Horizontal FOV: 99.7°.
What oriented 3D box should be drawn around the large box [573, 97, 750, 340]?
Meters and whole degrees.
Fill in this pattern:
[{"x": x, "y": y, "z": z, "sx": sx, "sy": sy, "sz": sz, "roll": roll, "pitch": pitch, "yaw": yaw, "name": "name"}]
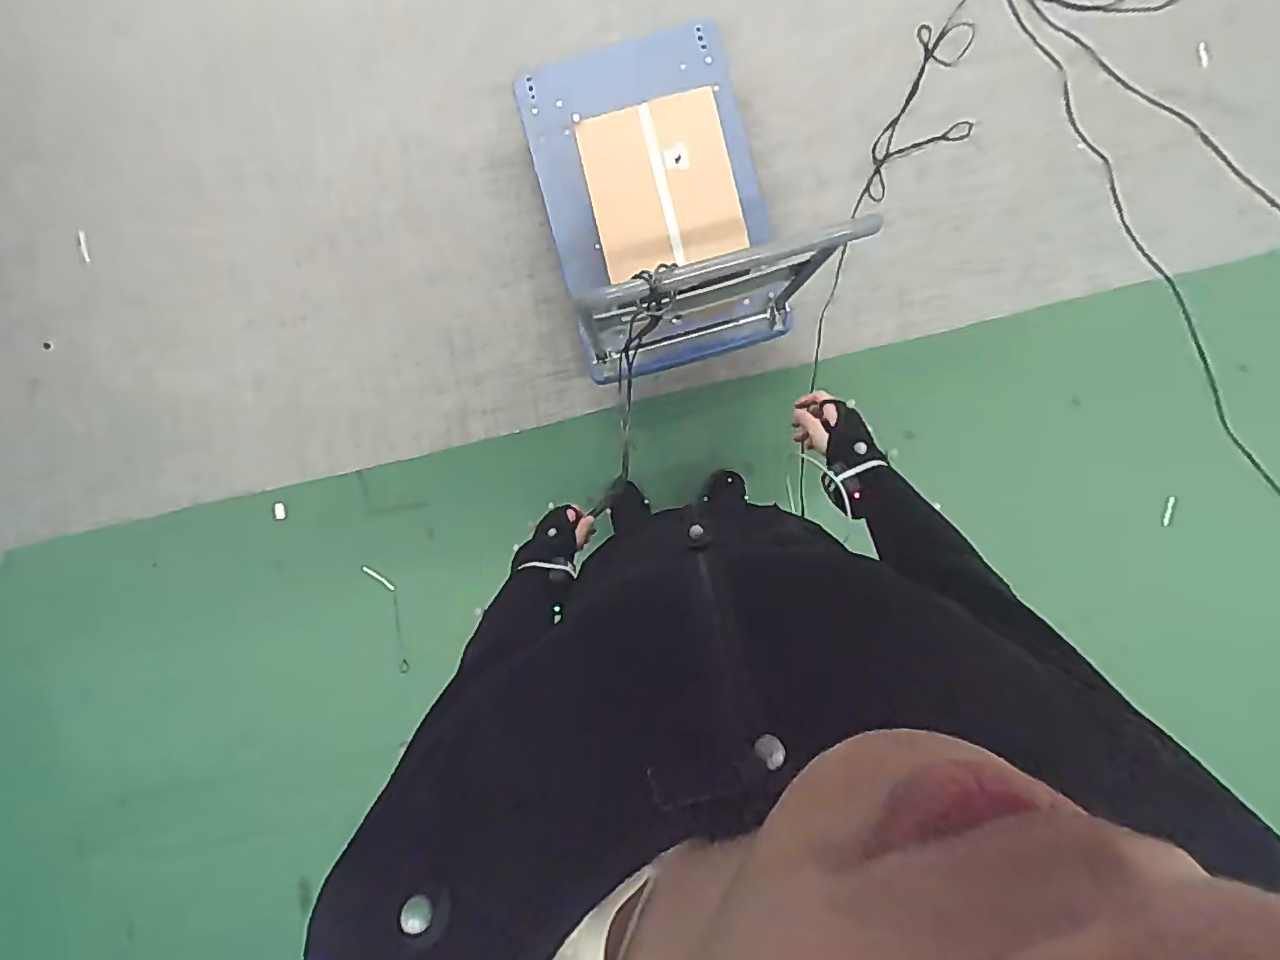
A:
[{"x": 0.052, "y": -0.612, "z": 1.333, "sx": 0.320, "sy": 0.320, "sz": 0.408, "roll": -13, "pitch": 89, "yaw": 1, "name": "large box"}]
